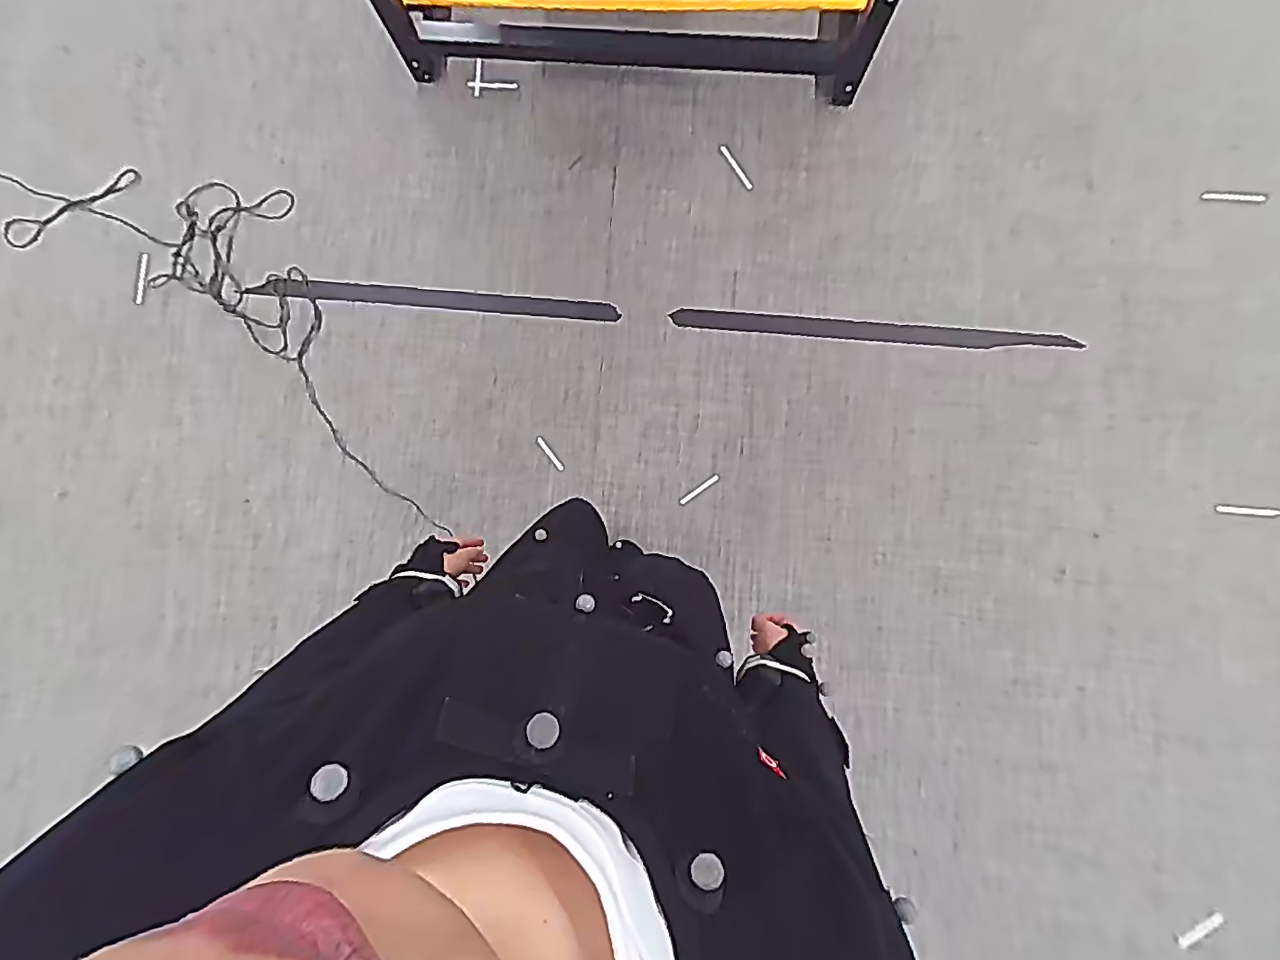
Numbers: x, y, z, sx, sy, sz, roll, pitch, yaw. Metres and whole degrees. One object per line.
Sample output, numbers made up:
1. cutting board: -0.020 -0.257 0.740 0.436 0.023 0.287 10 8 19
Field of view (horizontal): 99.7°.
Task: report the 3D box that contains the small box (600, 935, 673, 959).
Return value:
1. small box: -0.014 1.207 1.254 0.179 0.176 0.168 5 87 1
